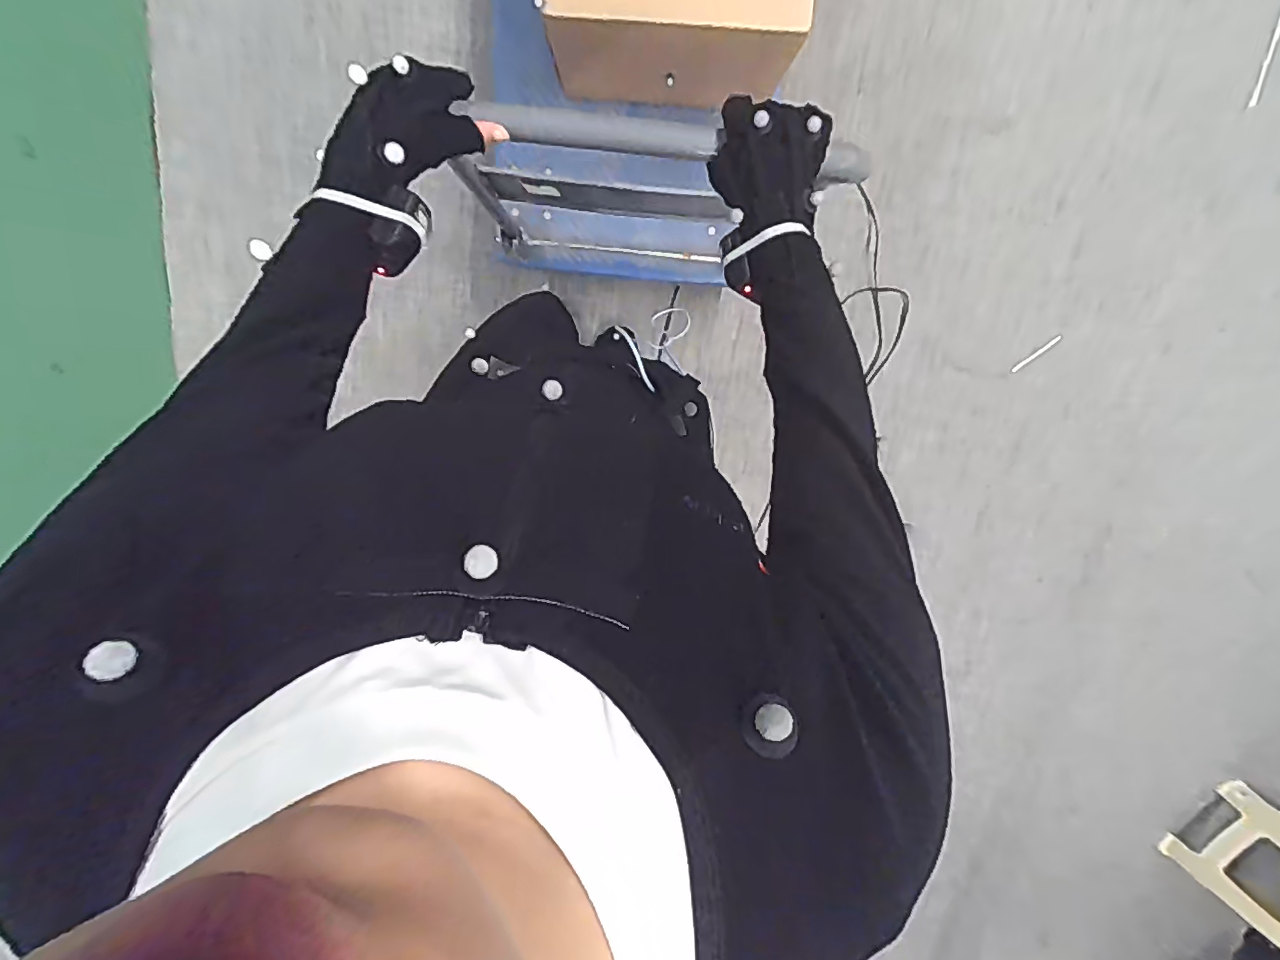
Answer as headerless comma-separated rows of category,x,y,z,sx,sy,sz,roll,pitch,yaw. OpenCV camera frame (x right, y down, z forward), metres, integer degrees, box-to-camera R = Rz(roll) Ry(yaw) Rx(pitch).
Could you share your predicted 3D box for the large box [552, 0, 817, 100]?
large box,0.073,-0.881,0.917,0.408,0.320,0.320,2,106,0
